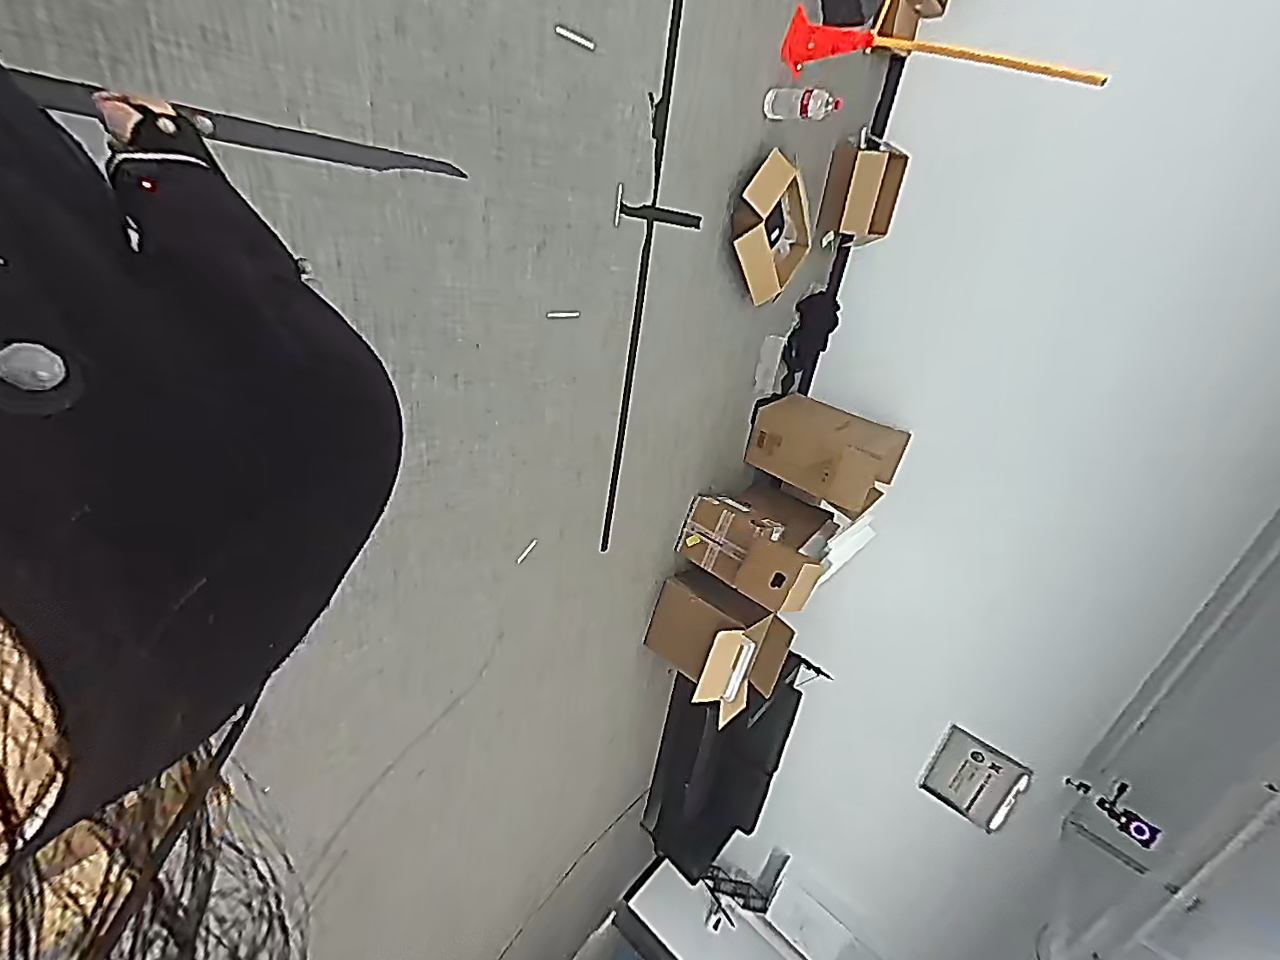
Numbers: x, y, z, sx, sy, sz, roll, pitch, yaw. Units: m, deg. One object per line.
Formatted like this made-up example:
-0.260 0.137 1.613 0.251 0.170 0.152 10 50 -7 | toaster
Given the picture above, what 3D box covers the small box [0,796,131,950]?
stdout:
-1.236 0.824 1.151 0.168 0.176 0.179 -26 133 -44 | small box
